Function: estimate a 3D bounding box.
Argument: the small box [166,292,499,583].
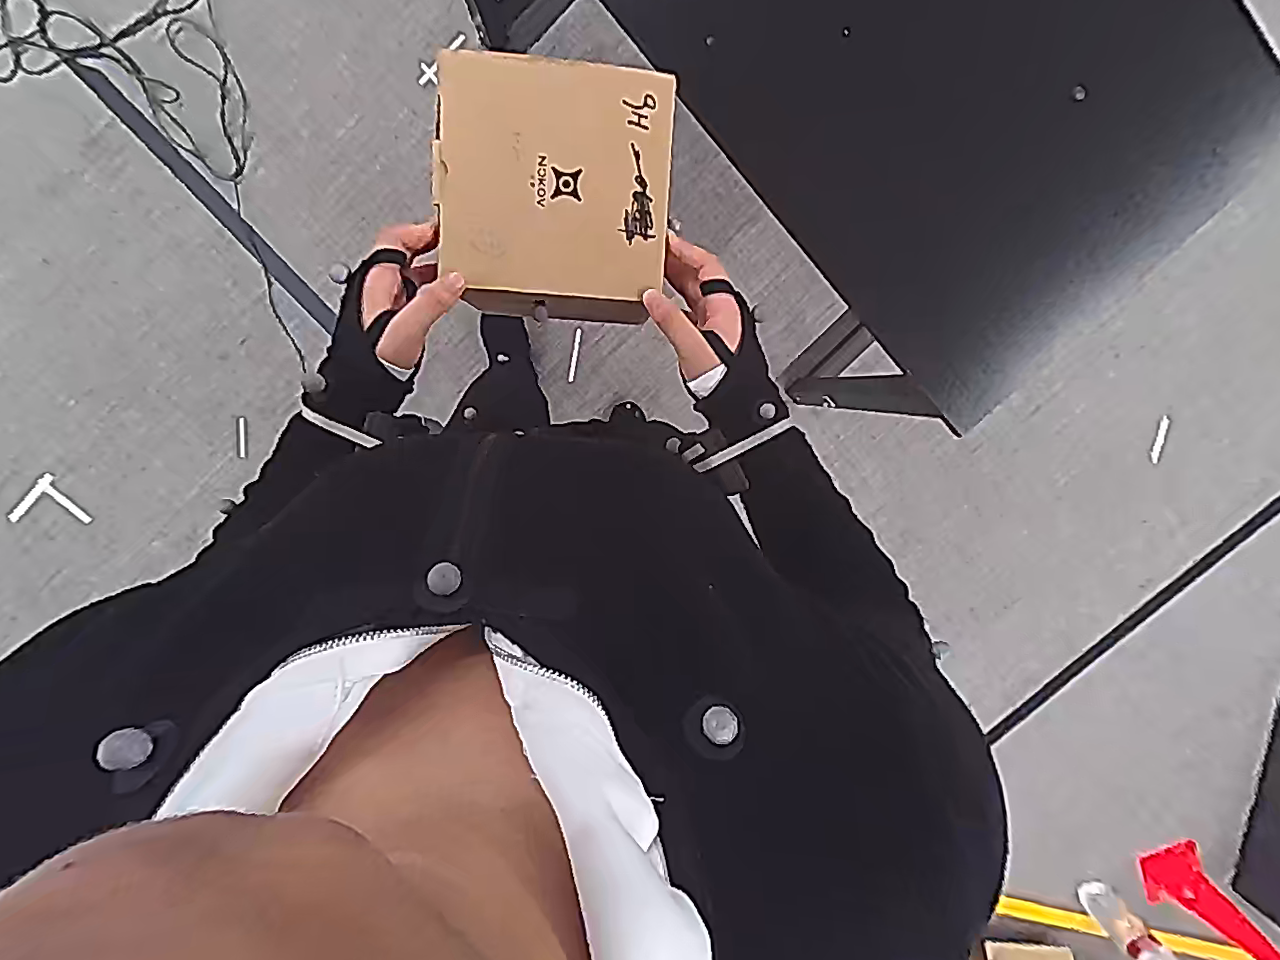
[{"bbox_3d":[-0.263,-0.032,0.471,0.179,0.168,0.176,-40,105,-30],"label":"small box"}]
